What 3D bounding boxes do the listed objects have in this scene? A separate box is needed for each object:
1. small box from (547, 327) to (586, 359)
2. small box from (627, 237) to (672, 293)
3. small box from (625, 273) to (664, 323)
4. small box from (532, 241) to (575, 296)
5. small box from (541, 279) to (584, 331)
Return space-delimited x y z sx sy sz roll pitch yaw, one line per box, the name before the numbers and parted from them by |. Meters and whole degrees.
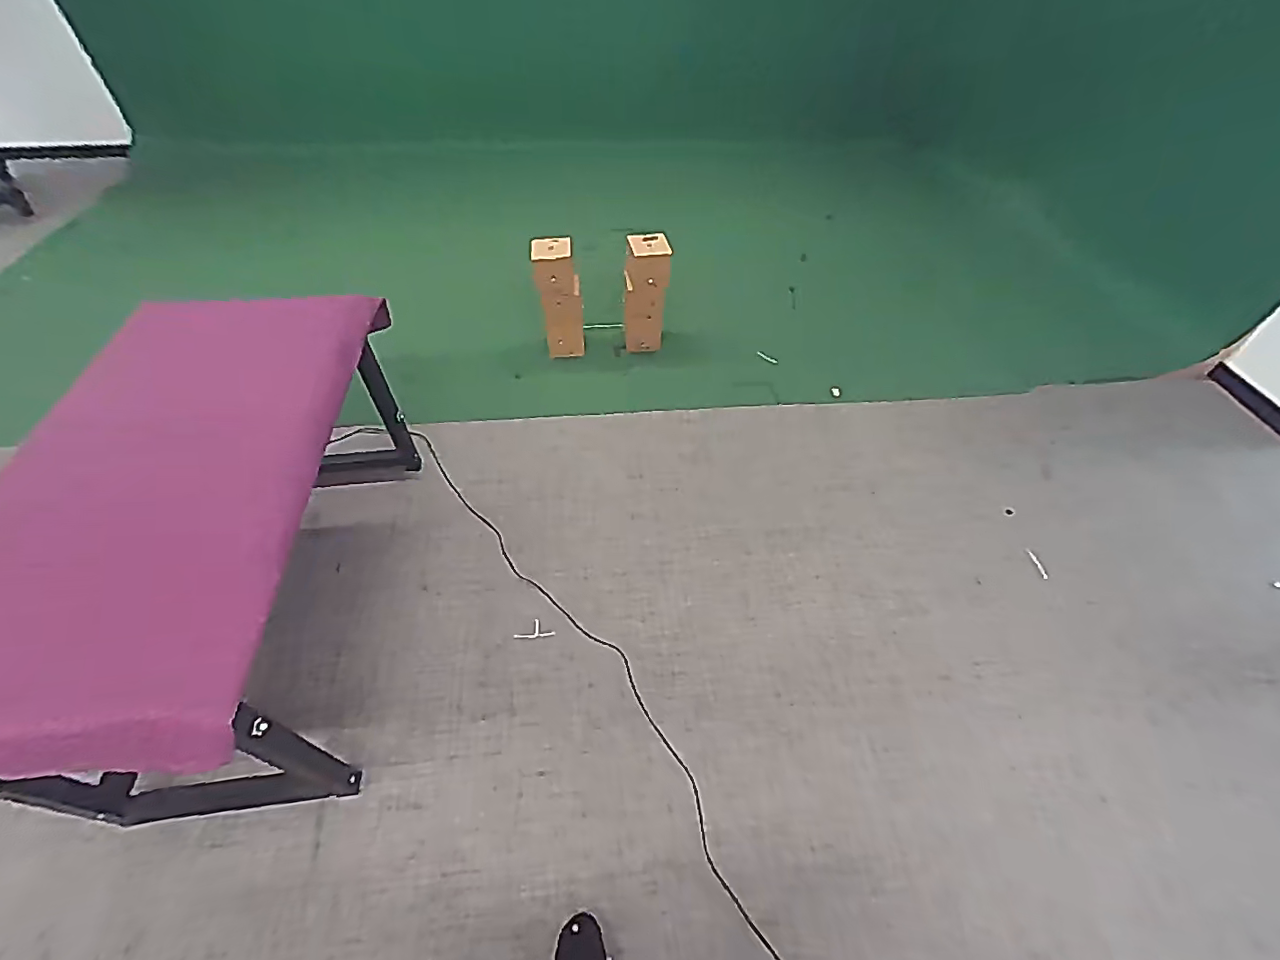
small box | -0.352 -0.694 2.594 0.168 0.176 0.179 -5 49 -4
small box | 0.038 -0.949 2.384 0.168 0.176 0.179 -8 53 -9
small box | 0.019 -0.844 2.509 0.168 0.176 0.179 -4 51 -5
small box | -0.374 -0.913 2.349 0.168 0.176 0.179 -5 50 -3
small box | -0.353 -0.797 2.466 0.179 0.176 0.168 -5 50 -5
